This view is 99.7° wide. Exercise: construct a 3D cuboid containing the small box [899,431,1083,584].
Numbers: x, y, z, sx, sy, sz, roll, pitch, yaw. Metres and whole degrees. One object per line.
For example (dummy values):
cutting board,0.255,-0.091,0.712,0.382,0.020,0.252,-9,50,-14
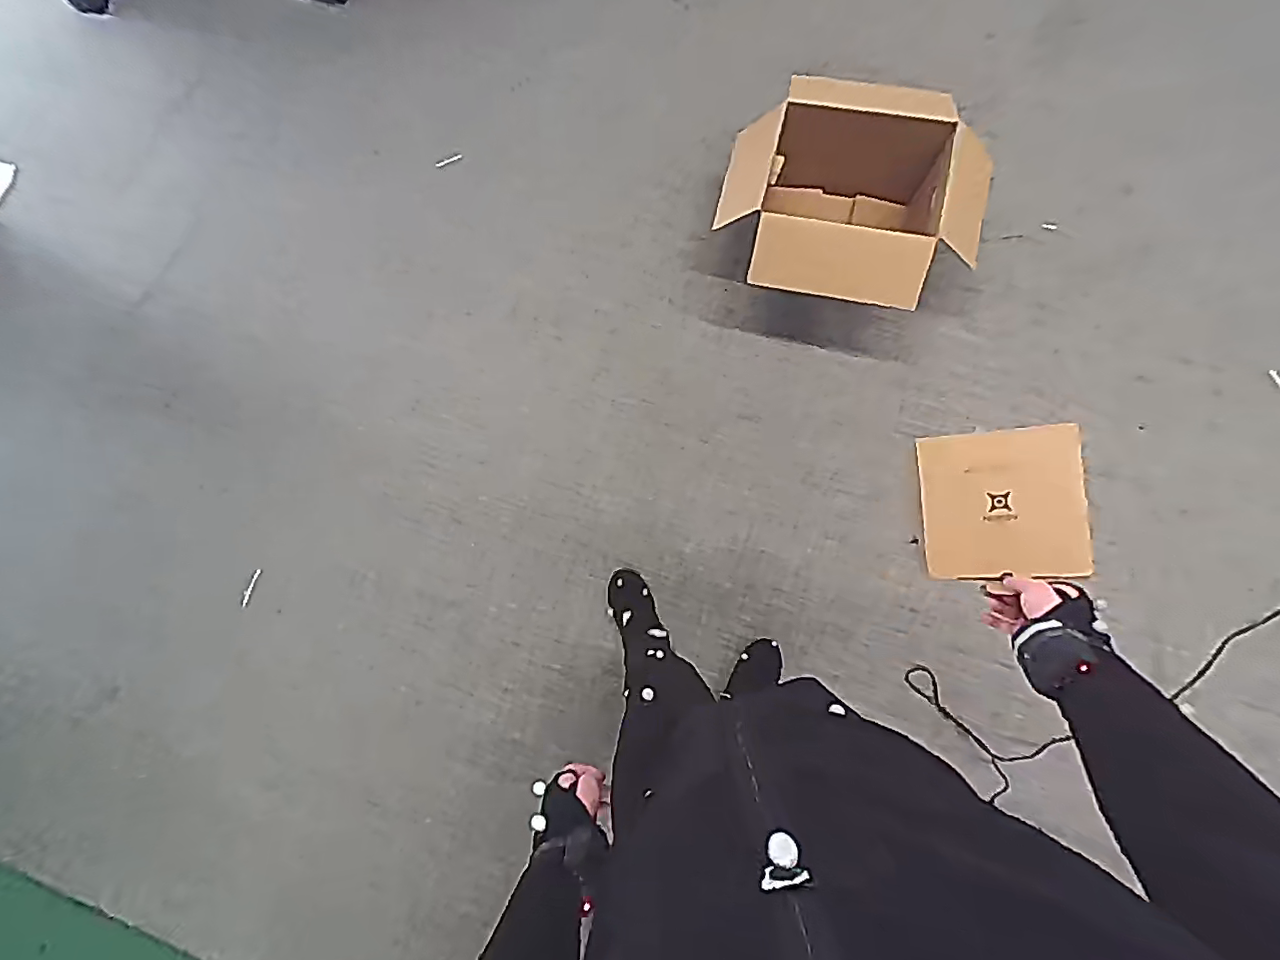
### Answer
small box,0.447,0.039,0.716,0.168,0.176,0.179,-5,85,19
